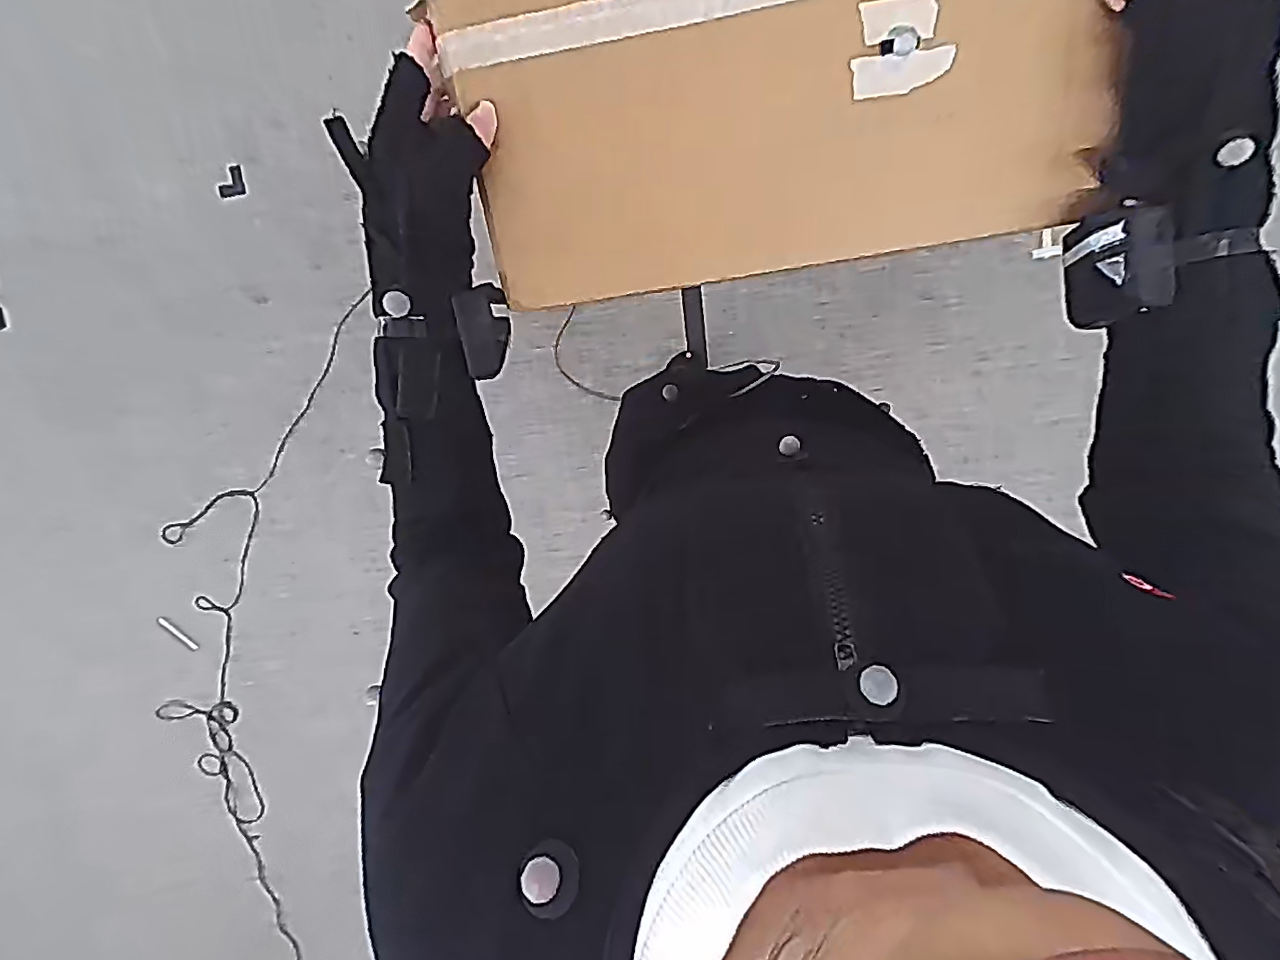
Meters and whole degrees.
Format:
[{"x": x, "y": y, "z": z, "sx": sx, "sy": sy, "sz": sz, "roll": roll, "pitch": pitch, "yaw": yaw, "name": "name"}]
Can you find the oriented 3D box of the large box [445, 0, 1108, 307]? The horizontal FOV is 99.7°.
[{"x": 0.084, "y": -0.350, "z": 0.470, "sx": 0.408, "sy": 0.320, "sz": 0.320, "roll": -8, "pitch": 111, "yaw": 6, "name": "large box"}]
